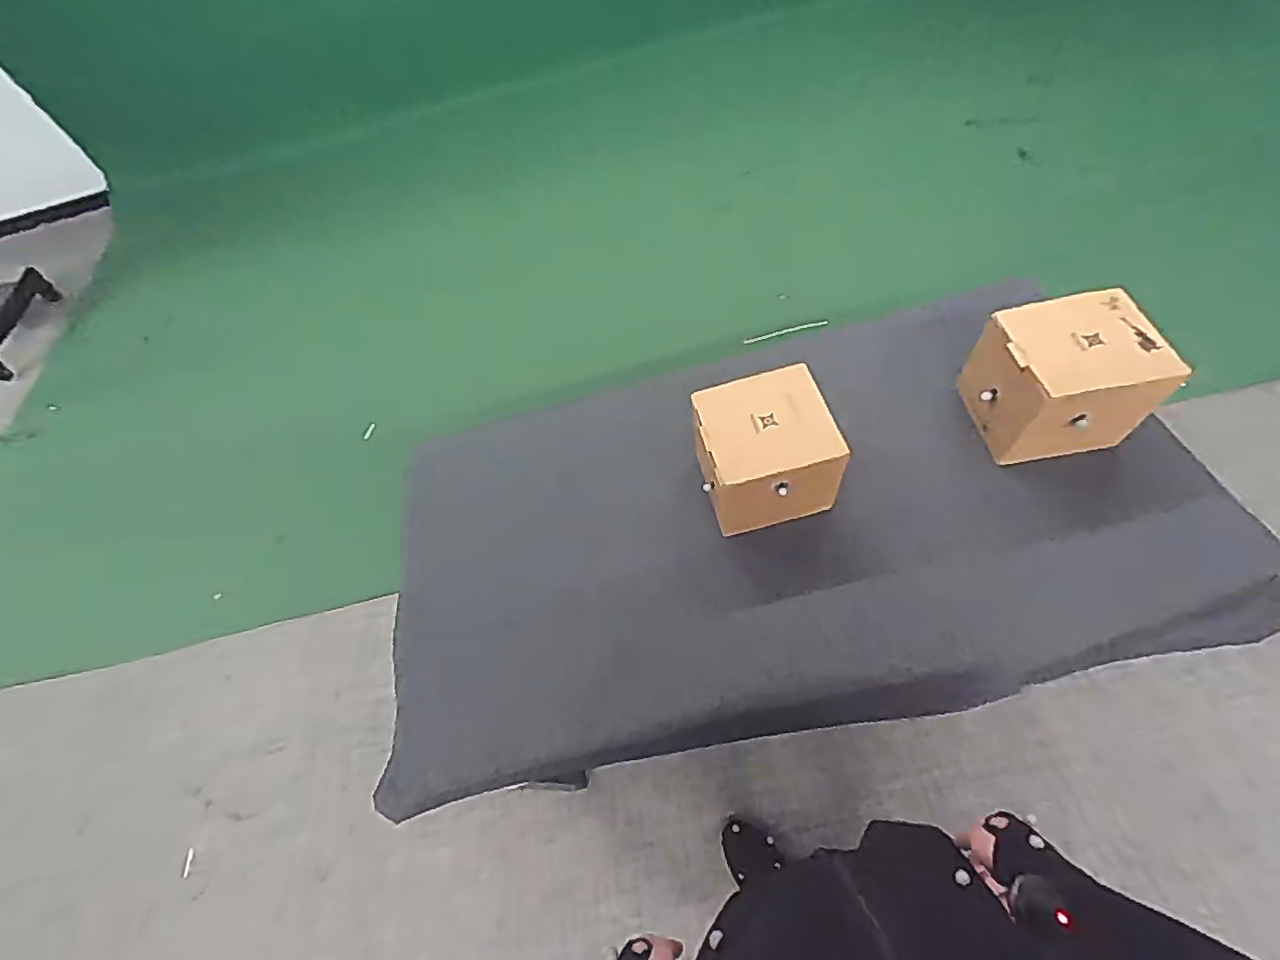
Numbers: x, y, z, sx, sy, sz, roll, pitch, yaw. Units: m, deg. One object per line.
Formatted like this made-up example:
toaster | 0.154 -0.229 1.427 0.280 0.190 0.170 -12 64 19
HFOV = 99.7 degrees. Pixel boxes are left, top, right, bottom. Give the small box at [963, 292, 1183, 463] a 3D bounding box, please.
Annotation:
small box | 0.608 -0.141 0.797 0.179 0.176 0.168 -10 59 5

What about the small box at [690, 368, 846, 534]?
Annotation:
small box | 0.185 -0.036 0.818 0.179 0.176 0.168 -15 60 0
